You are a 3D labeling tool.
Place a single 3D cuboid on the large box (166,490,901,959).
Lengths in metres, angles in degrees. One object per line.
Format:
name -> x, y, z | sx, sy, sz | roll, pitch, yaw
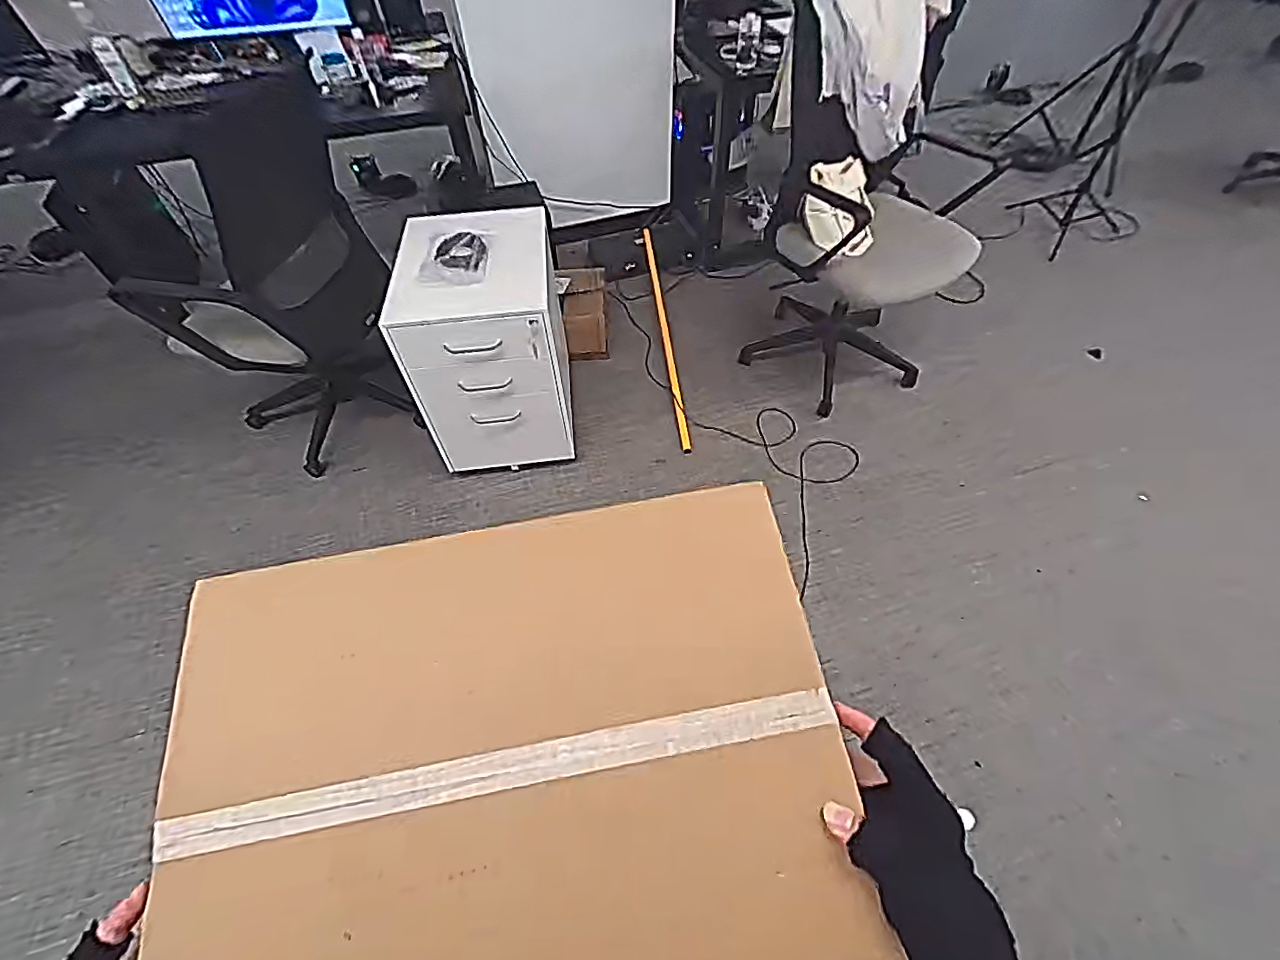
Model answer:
large box -> -0.075, 0.241, 0.469 | 0.408, 0.320, 0.320 | -10, 67, -2
